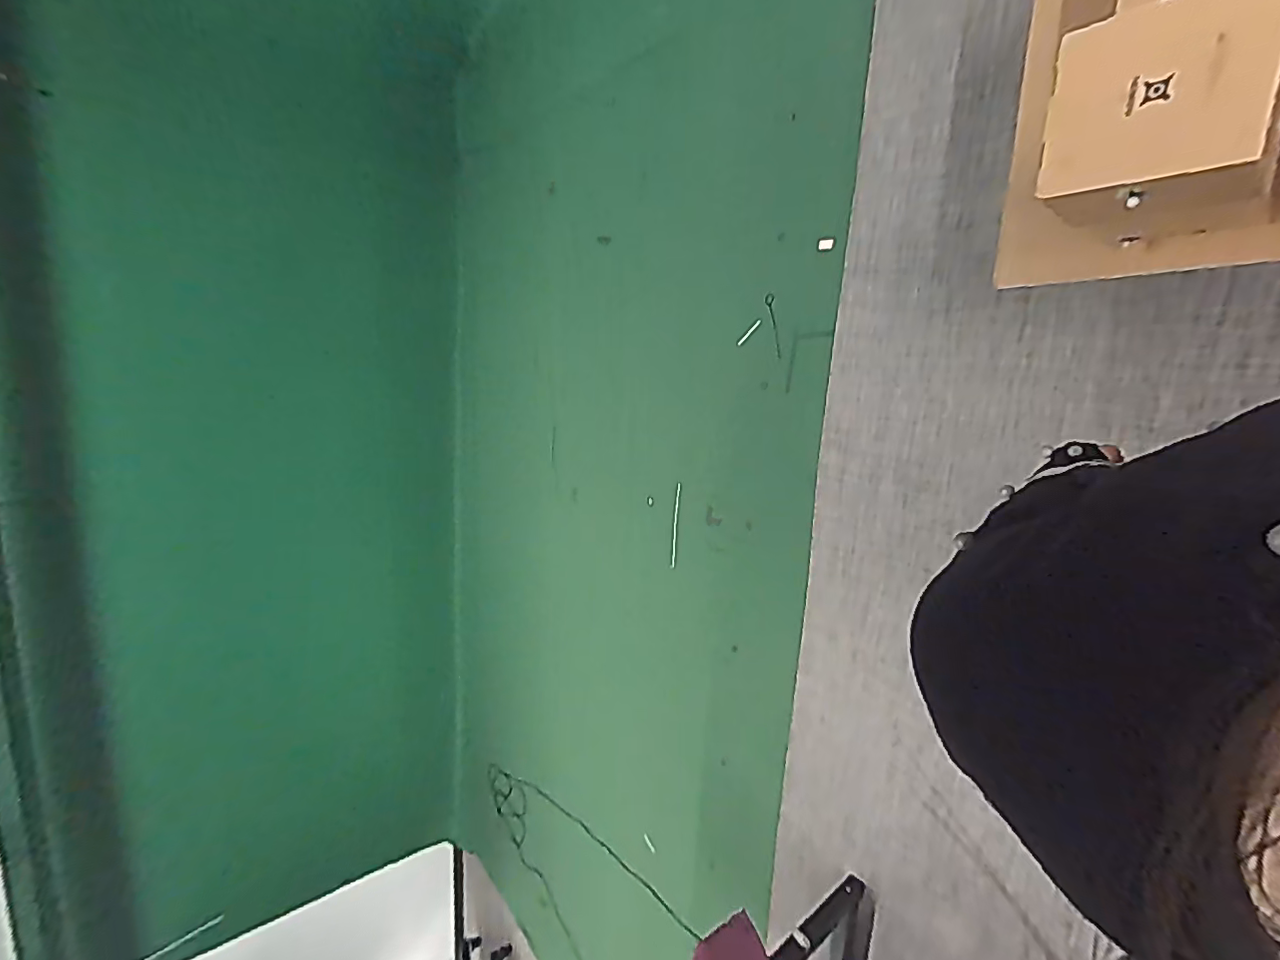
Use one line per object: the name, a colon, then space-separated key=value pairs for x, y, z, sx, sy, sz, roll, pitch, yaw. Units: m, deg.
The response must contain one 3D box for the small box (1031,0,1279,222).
small box: x=0.568 y=-0.394 z=0.586 sx=0.179 sy=0.176 sz=0.168 roll=17 pitch=109 yaw=49
